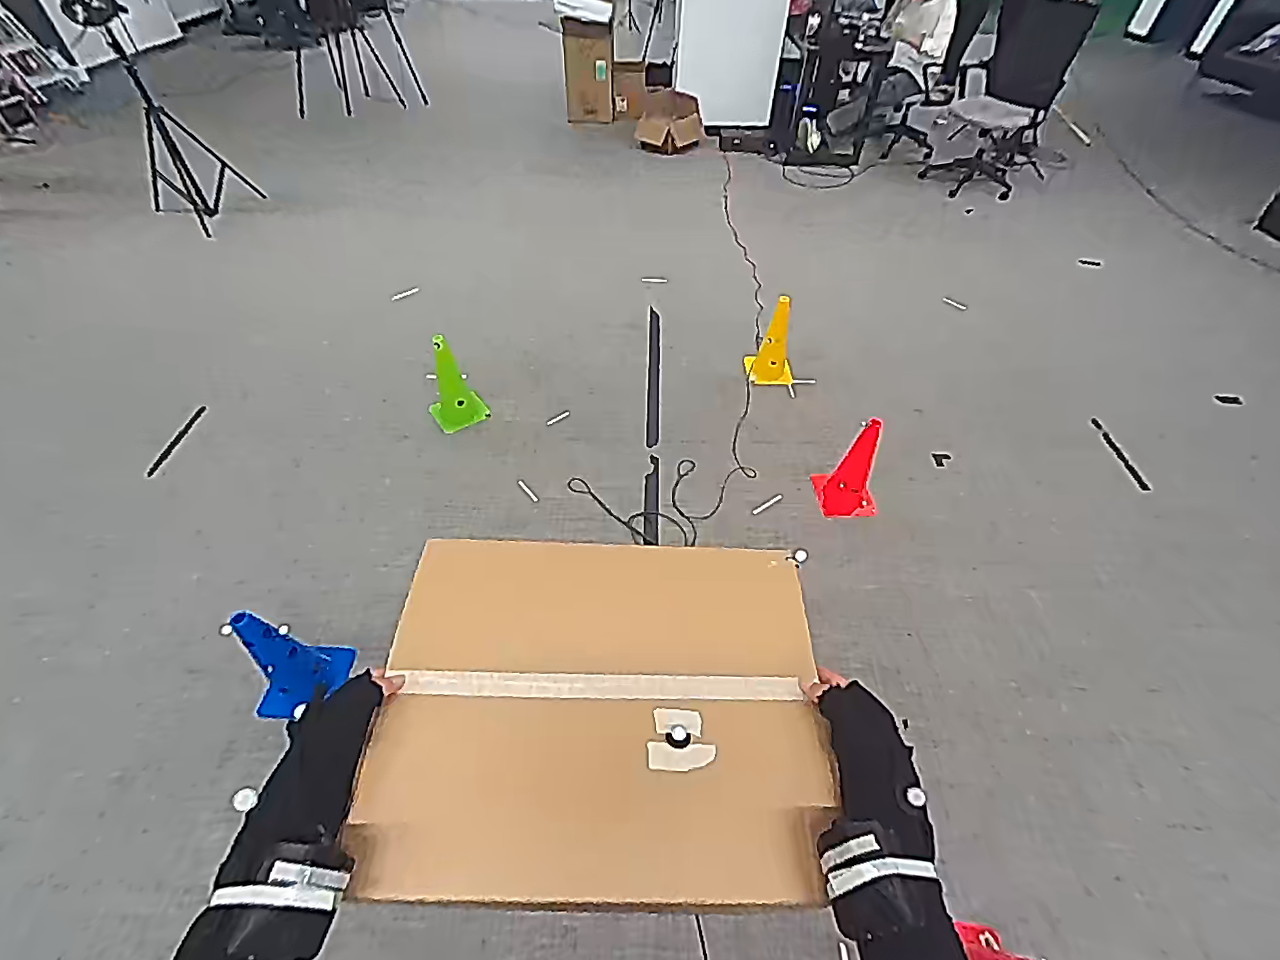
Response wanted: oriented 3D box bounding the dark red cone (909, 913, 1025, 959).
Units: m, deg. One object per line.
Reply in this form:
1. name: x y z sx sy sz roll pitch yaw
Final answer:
1. dark red cone: 0.645 0.883 0.944 0.201 0.394 0.202 5 48 5

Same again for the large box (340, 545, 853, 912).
1. large box: -0.039 0.291 0.620 0.408 0.320 0.320 3 50 -2

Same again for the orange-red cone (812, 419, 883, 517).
1. orange-red cone: 0.740 -0.062 1.832 0.198 0.360 0.199 0 47 -3

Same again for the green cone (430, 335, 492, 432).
1. green cone: -0.737 -0.401 2.095 0.202 0.368 0.200 -29 54 -23

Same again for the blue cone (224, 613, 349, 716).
1. blue cone: -0.911 0.439 1.356 0.192 0.380 0.193 3 48 3
